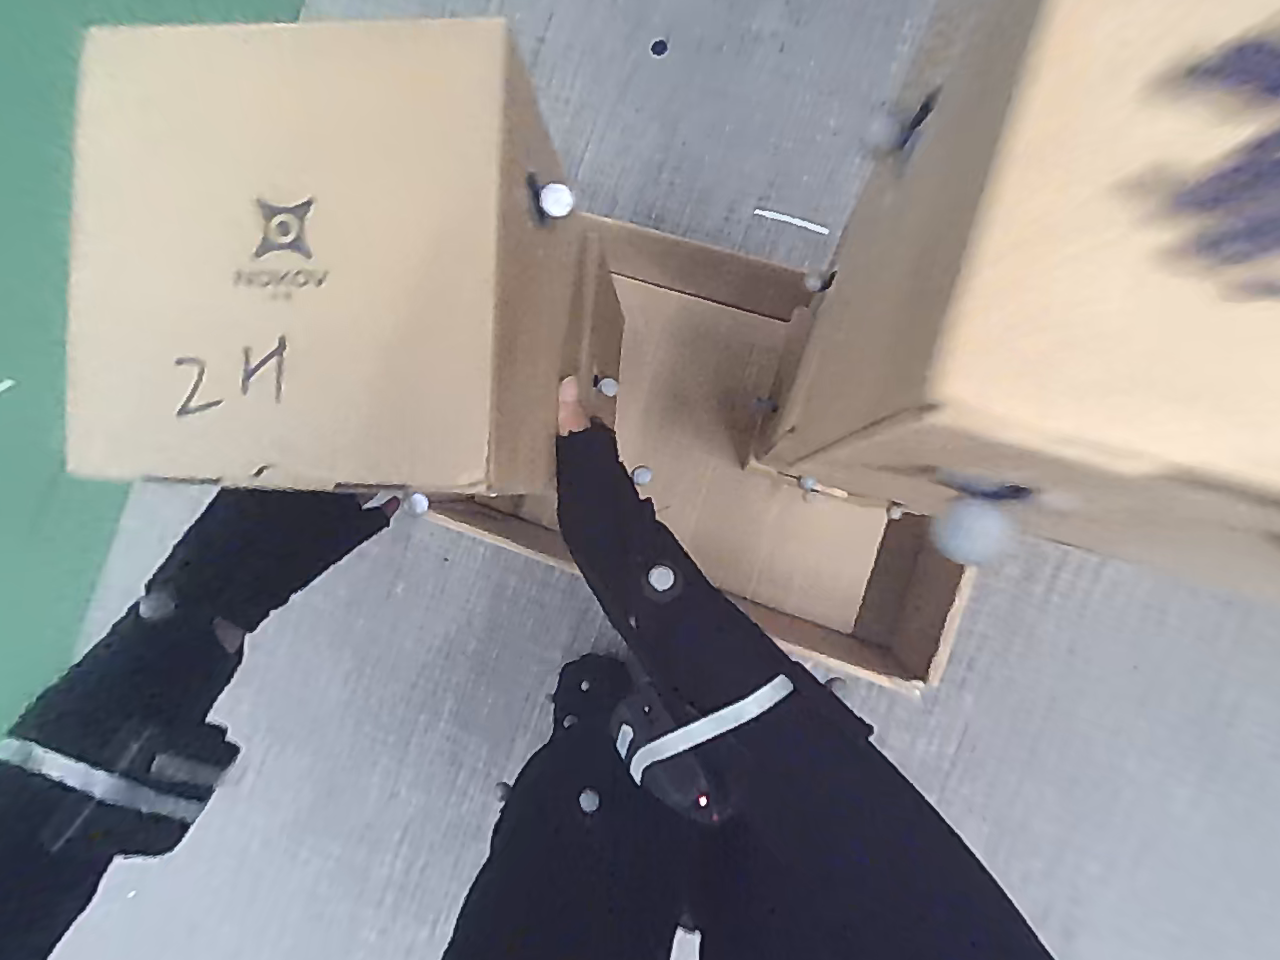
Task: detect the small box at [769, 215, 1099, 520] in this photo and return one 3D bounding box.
[{"bbox_3d":[0.212,-0.078,0.449,0.168,0.176,0.179,19,92,9],"label":"small box"}]

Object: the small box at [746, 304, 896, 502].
[{"bbox_3d":[0.227,-0.078,0.631,0.168,0.176,0.179,15,91,11],"label":"small box"}]
